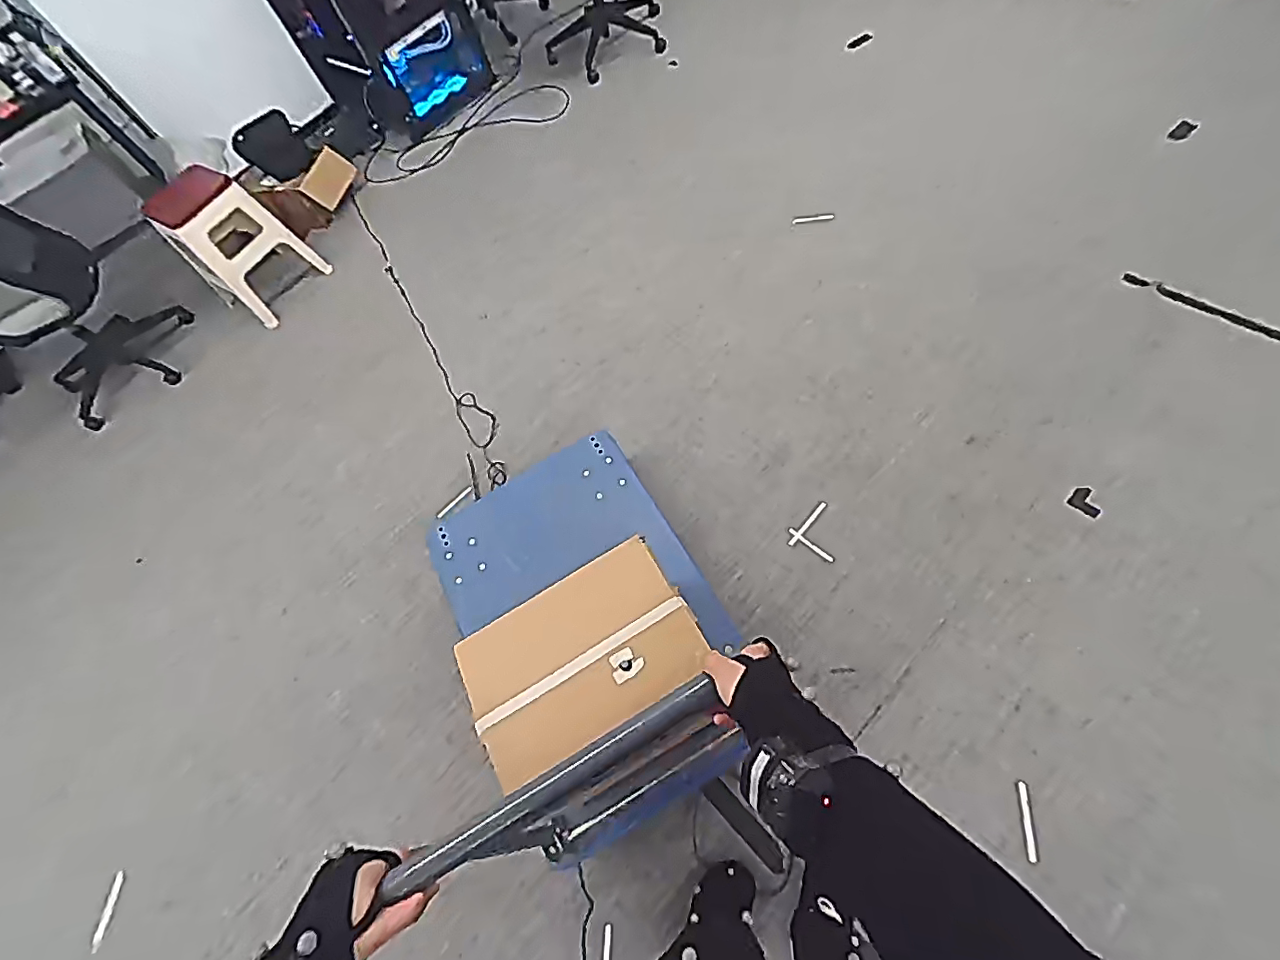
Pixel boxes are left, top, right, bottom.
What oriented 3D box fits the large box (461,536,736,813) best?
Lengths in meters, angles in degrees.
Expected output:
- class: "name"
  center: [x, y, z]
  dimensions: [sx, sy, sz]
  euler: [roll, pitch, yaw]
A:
- class: "large box"
  center: [-0.065, 0.389, 1.070]
  dimensions: [0.408, 0.320, 0.320]
  euler: [-31, 60, -5]
